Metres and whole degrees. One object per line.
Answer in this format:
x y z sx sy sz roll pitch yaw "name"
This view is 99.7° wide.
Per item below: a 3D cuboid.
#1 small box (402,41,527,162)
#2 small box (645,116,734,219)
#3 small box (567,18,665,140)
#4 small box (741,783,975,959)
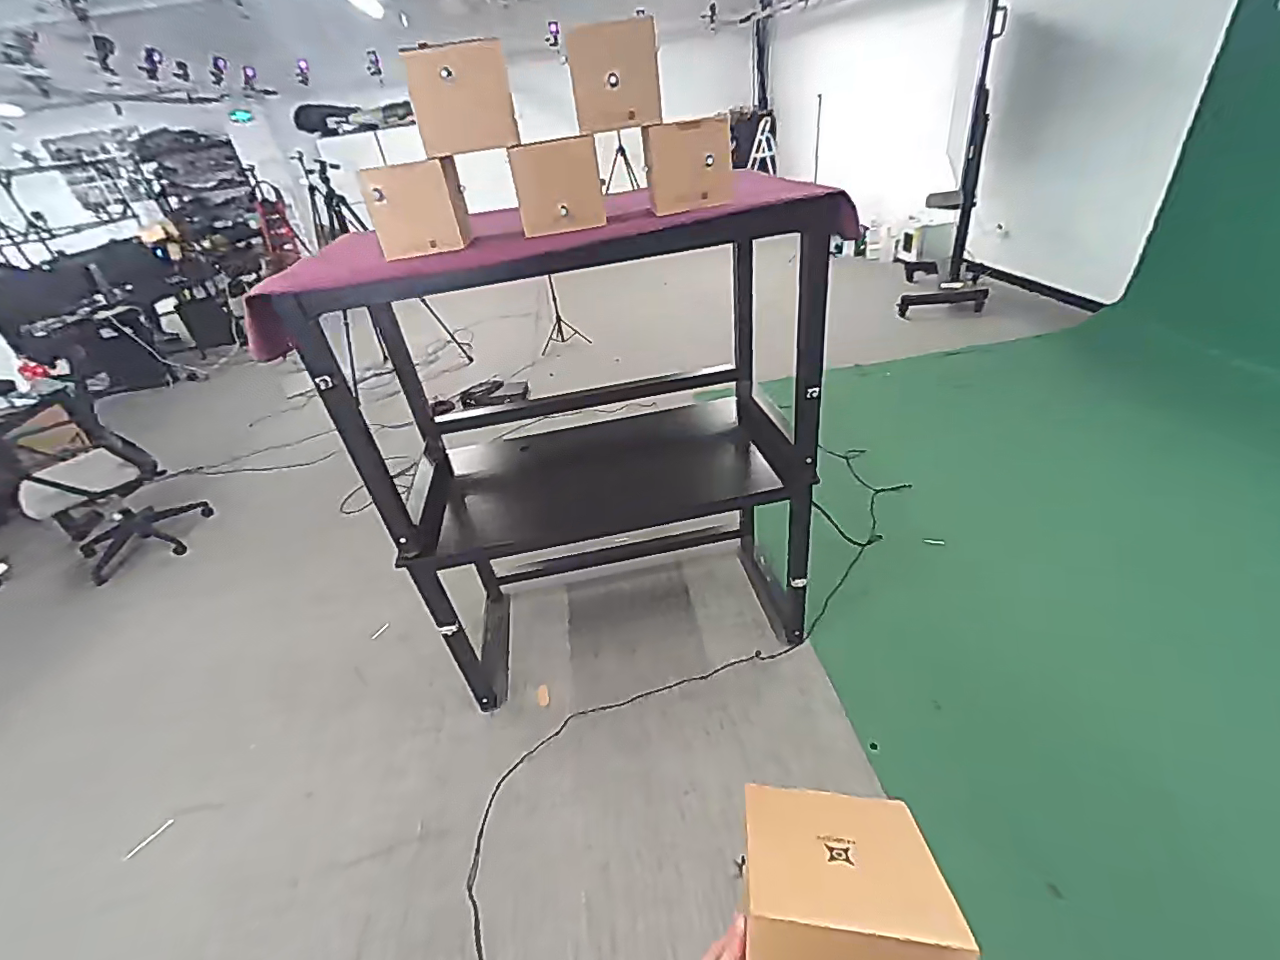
-0.333 -0.733 1.063 0.179 0.176 0.168 -9 33 -2 "small box"
0.107 -0.675 1.173 0.168 0.176 0.179 -8 33 1 "small box"
-0.045 -0.789 1.080 0.168 0.176 0.179 -8 33 0 "small box"
0.176 0.411 0.485 0.168 0.176 0.179 2 2 9 "small box"
